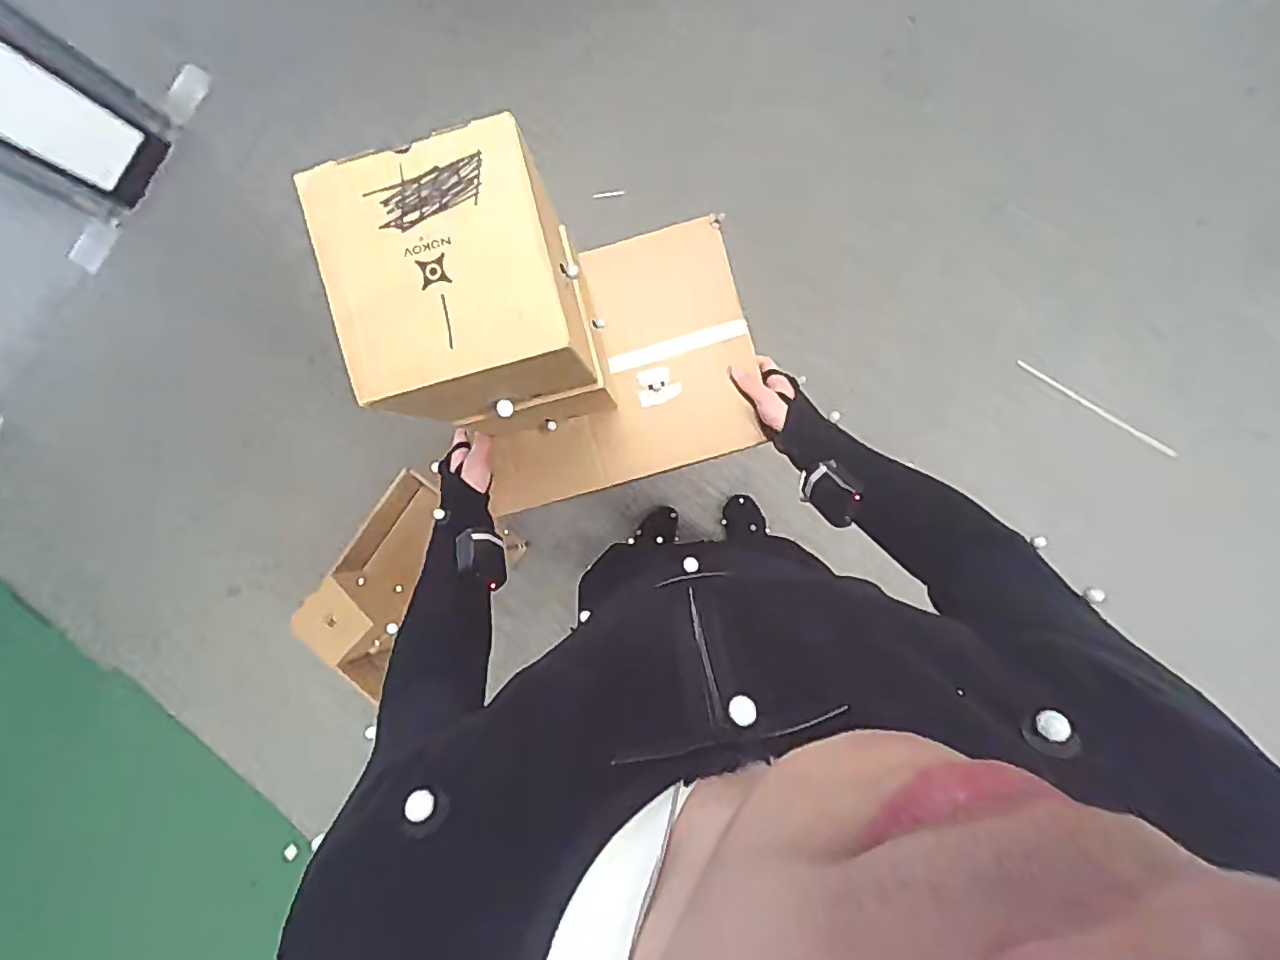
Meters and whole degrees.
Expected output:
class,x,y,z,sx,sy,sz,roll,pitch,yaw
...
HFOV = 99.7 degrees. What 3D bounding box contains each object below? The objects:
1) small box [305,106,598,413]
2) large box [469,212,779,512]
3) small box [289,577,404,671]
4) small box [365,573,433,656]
class,x,y,z,sx,sy,sz,roll,pitch,yaw
small box,-0.140,-0.166,0.466,0.168,0.176,0.179,-14,91,3
large box,-0.040,-0.156,0.871,0.408,0.320,0.320,-15,91,2
small box,-0.785,0.378,1.463,0.179,0.176,0.168,45,91,6
small box,-0.766,0.394,1.624,0.179,0.176,0.168,41,90,6
